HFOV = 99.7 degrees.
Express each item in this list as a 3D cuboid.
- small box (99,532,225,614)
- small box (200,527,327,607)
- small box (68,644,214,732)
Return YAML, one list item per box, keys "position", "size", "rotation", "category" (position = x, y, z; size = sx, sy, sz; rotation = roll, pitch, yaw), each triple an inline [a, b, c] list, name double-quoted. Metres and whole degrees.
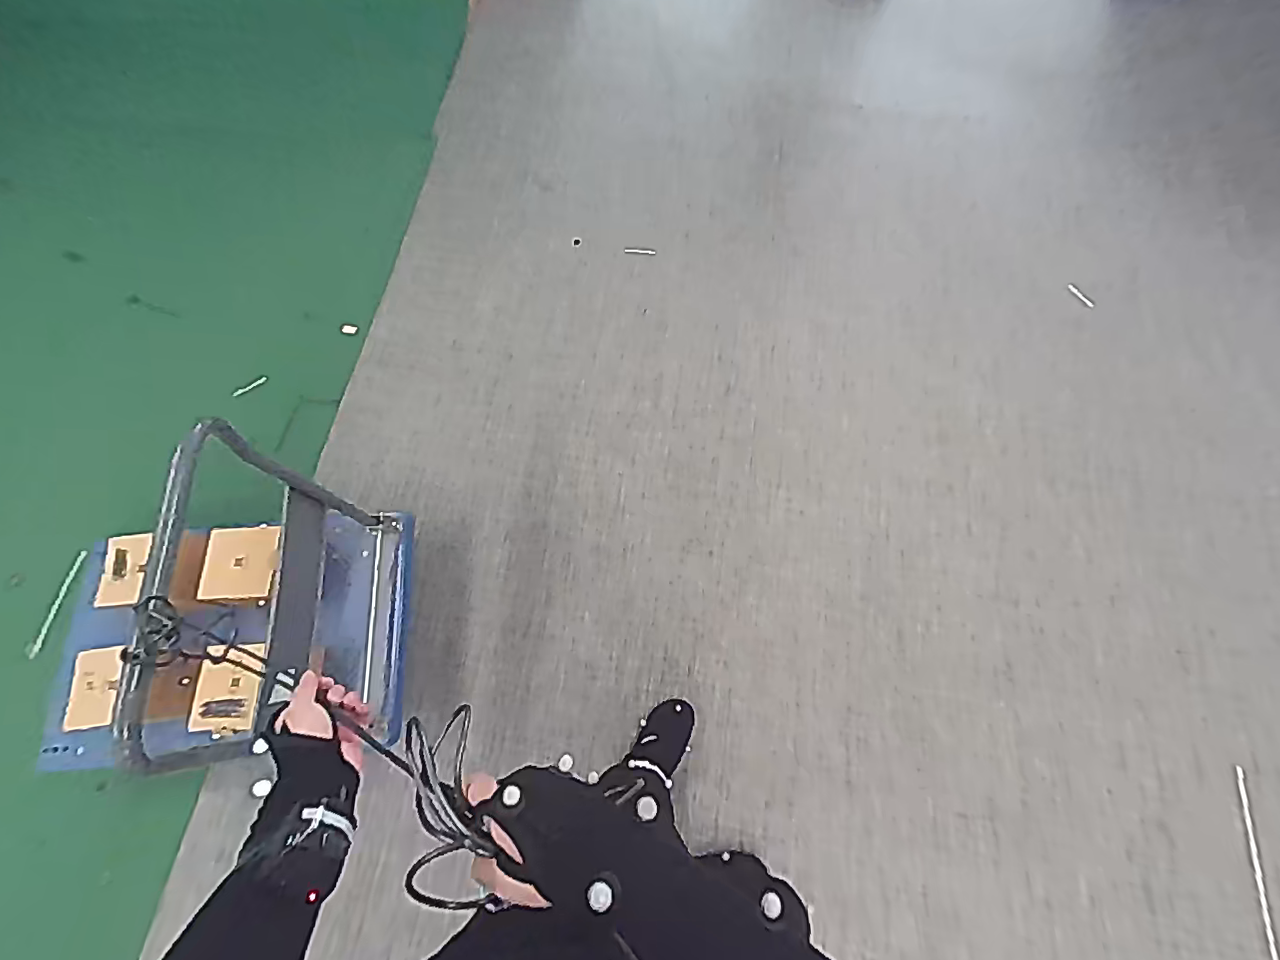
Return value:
- position: [-1.156, 0.235, 1.335]
  size: [0.179, 0.176, 0.168]
  rotation: [-6, 71, 1]
  category: "small box"
- position: [-0.912, 0.218, 1.325]
  size: [0.179, 0.176, 0.168]
  rotation: [-4, 71, 3]
  category: "small box"
- position: [-1.138, 0.475, 1.251]
  size: [0.179, 0.176, 0.168]
  rotation: [-9, 70, 1]
  category: "small box"
